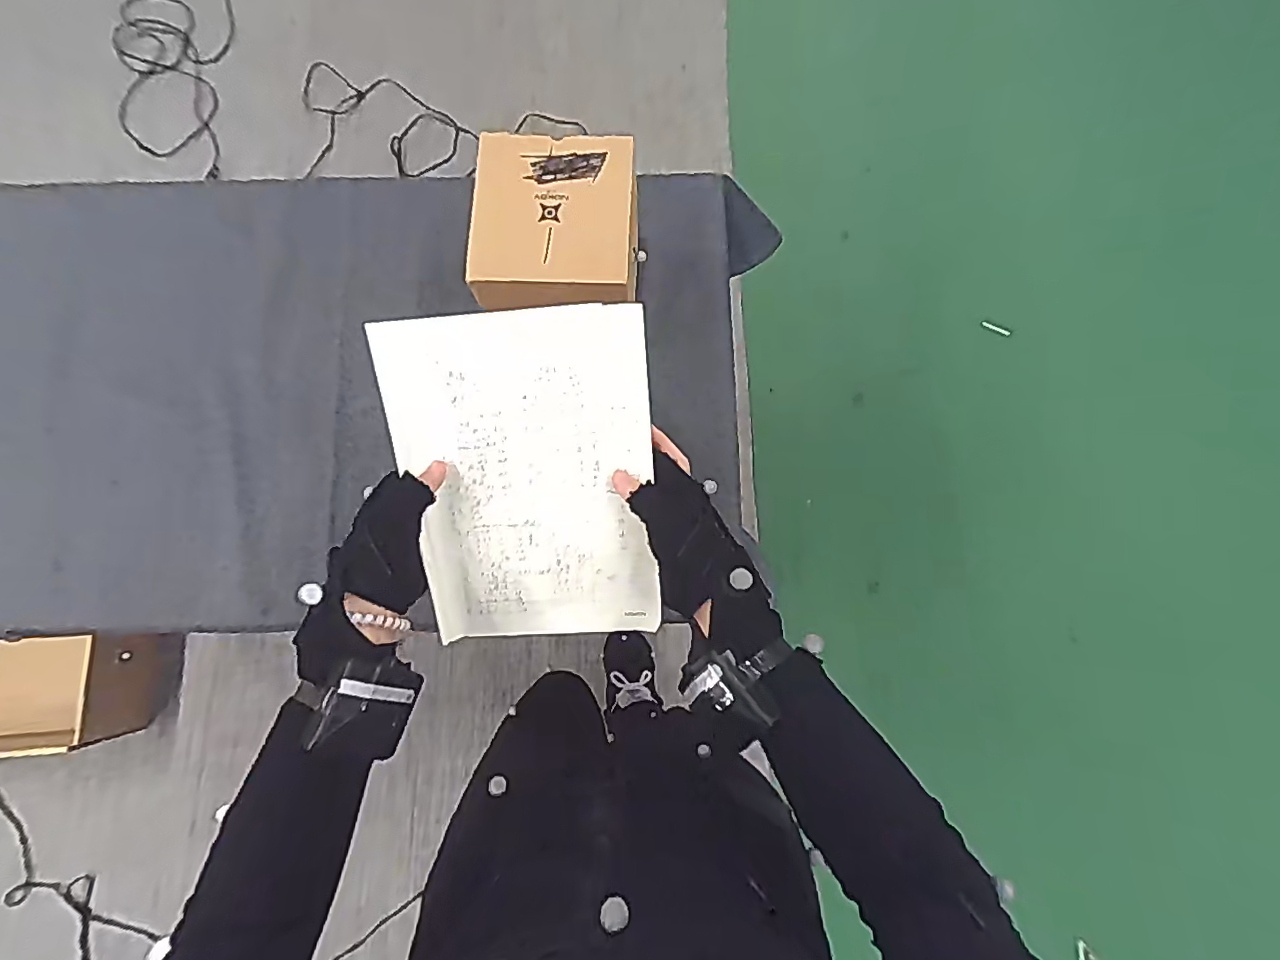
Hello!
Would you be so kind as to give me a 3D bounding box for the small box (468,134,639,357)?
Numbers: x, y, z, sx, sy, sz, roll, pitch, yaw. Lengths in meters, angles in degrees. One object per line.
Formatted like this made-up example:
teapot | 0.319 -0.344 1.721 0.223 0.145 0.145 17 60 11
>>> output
small box | -0.087 -0.265 0.637 0.168 0.176 0.179 2 79 1
